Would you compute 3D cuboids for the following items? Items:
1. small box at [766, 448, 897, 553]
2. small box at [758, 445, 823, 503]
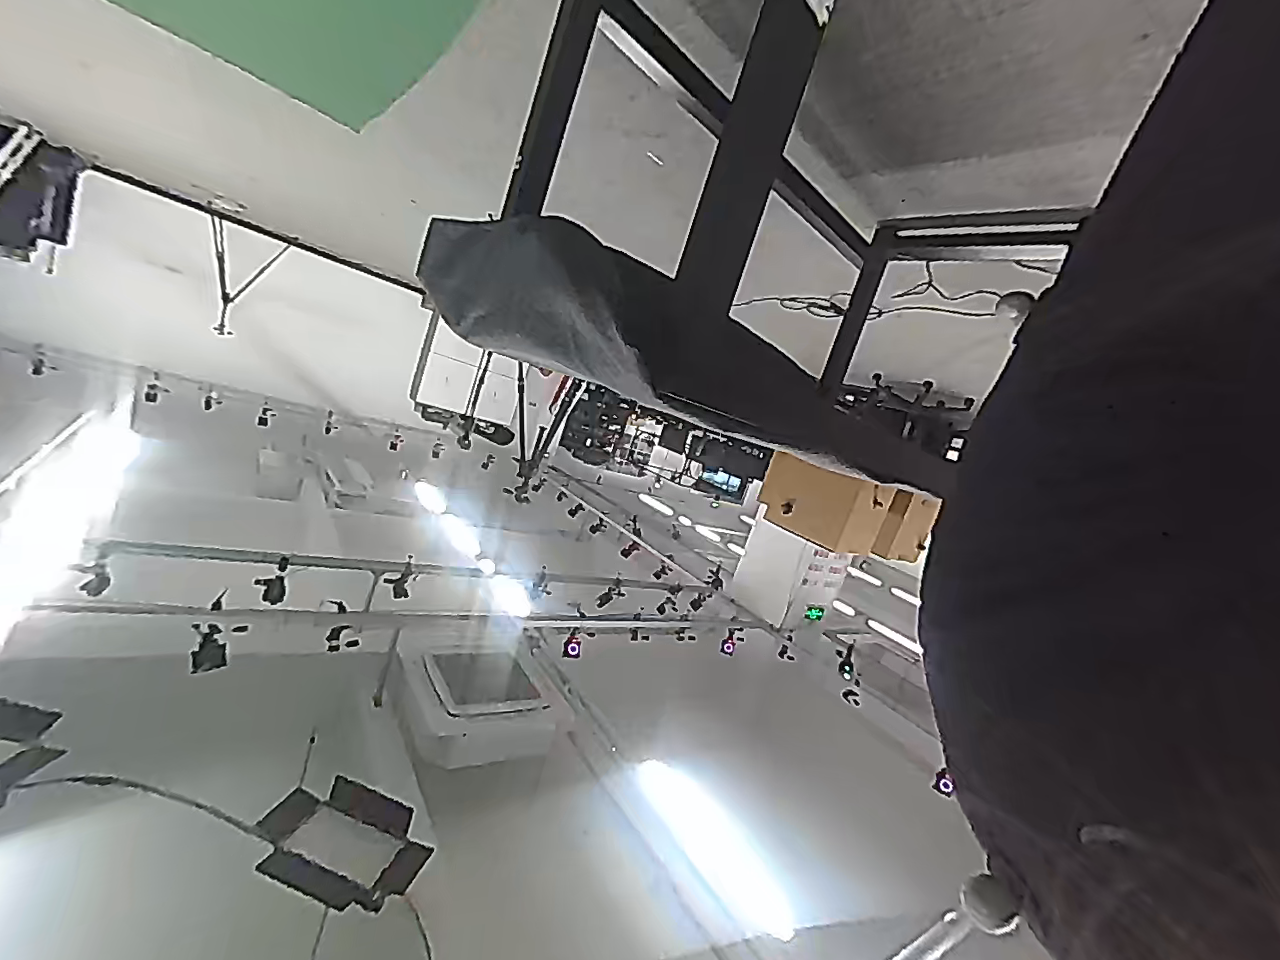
[{"bbox_3d":[0.401,0.038,1.132,0.168,0.176,0.179,11,-169,-45],"label":"small box"},{"bbox_3d":[0.457,0.009,1.458,0.168,0.176,0.179,11,-171,-43],"label":"small box"}]
